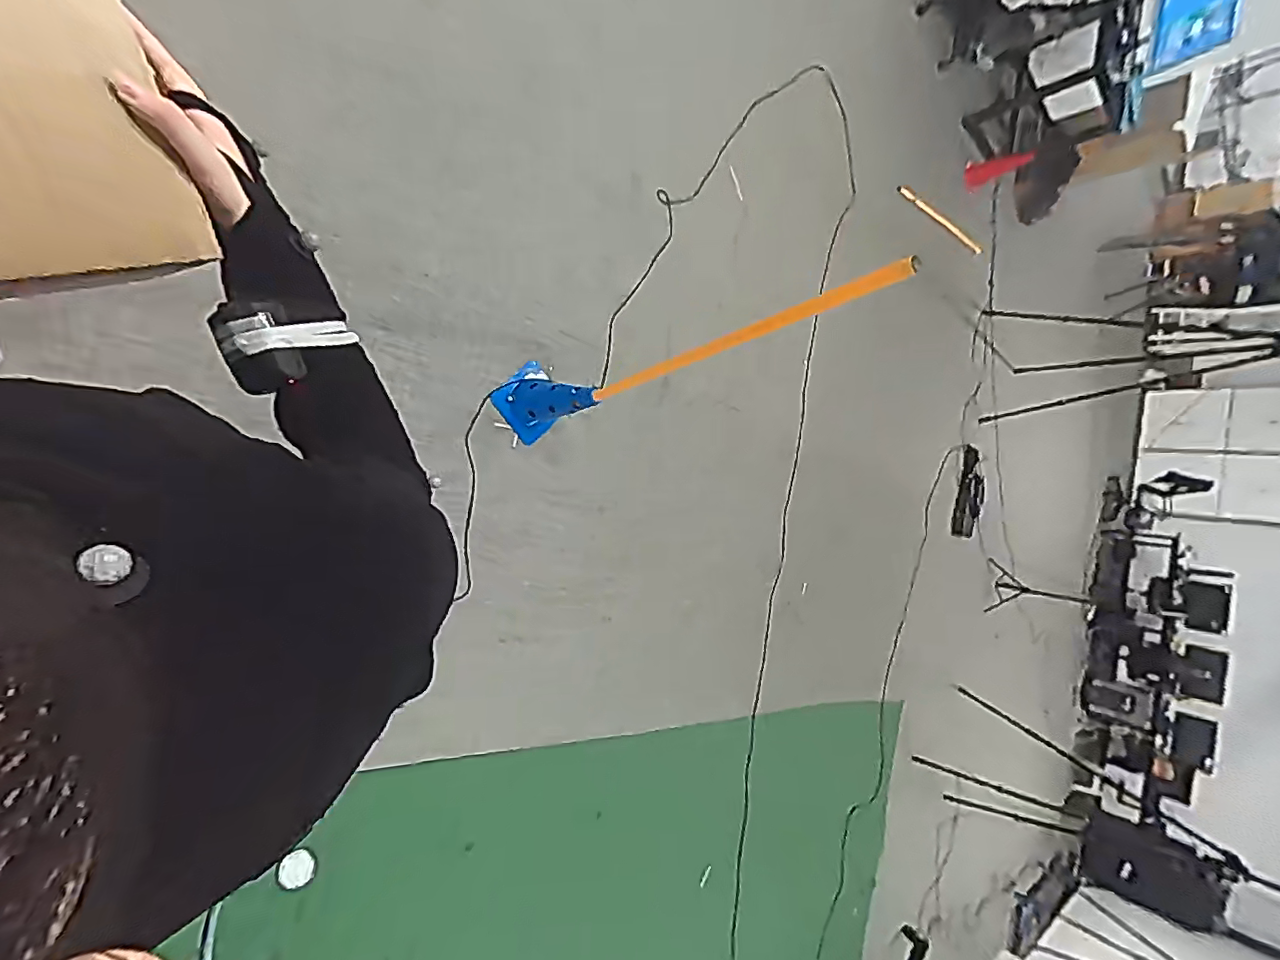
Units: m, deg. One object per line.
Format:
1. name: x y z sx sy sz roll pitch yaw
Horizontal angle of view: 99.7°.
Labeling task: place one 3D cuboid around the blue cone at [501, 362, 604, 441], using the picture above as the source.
1. blue cone: -0.214 -0.227 1.536 0.193 0.380 0.192 -52 122 -23
